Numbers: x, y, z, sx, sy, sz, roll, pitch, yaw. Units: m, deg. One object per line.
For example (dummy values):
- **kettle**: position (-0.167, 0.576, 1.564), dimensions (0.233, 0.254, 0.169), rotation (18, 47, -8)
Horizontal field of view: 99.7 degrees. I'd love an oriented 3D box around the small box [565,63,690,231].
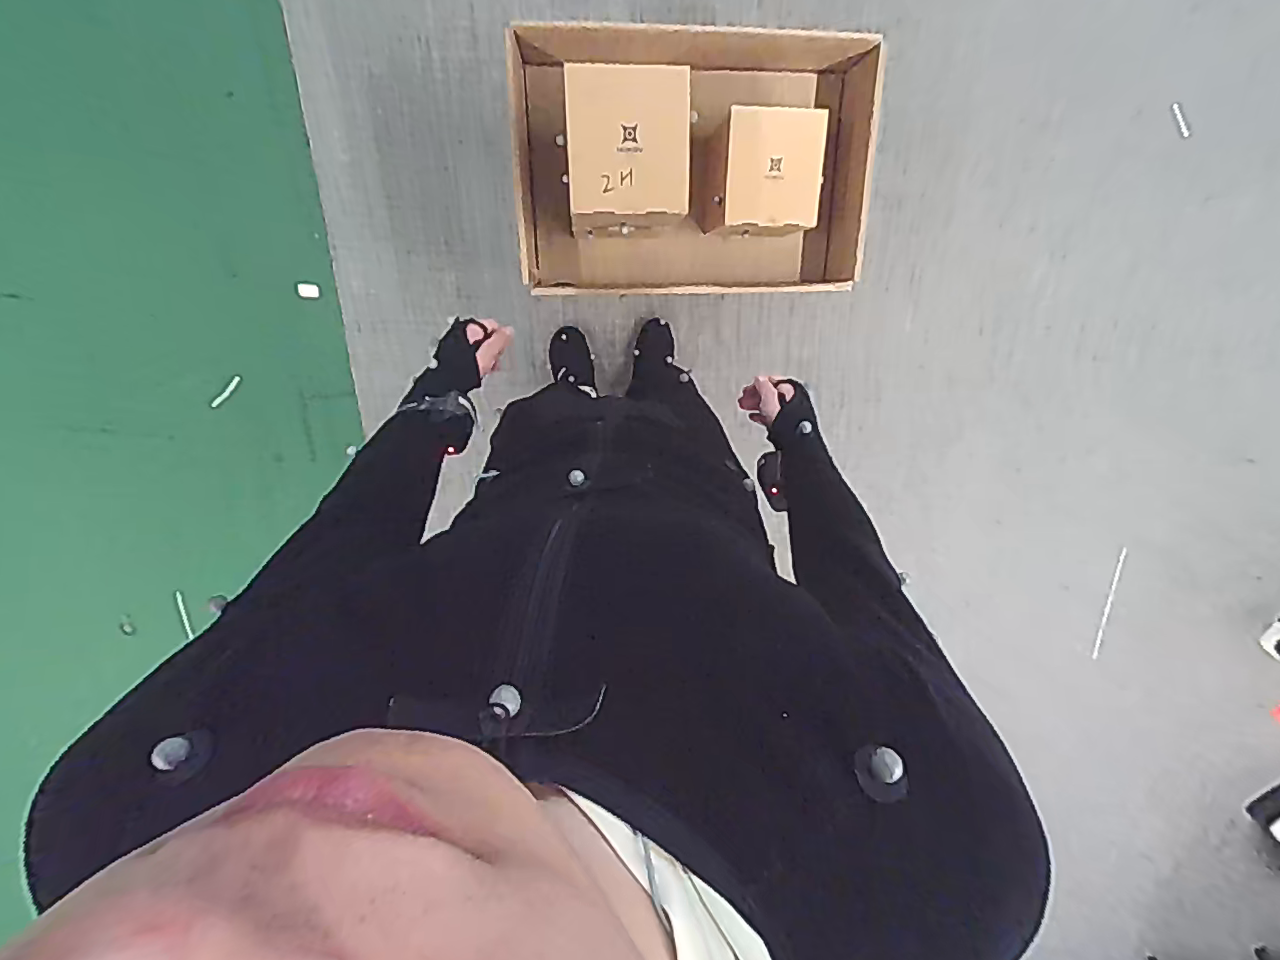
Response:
- **small box**: position (-0.024, -0.472, 0.792), dimensions (0.168, 0.176, 0.179), rotation (-3, 109, -5)
